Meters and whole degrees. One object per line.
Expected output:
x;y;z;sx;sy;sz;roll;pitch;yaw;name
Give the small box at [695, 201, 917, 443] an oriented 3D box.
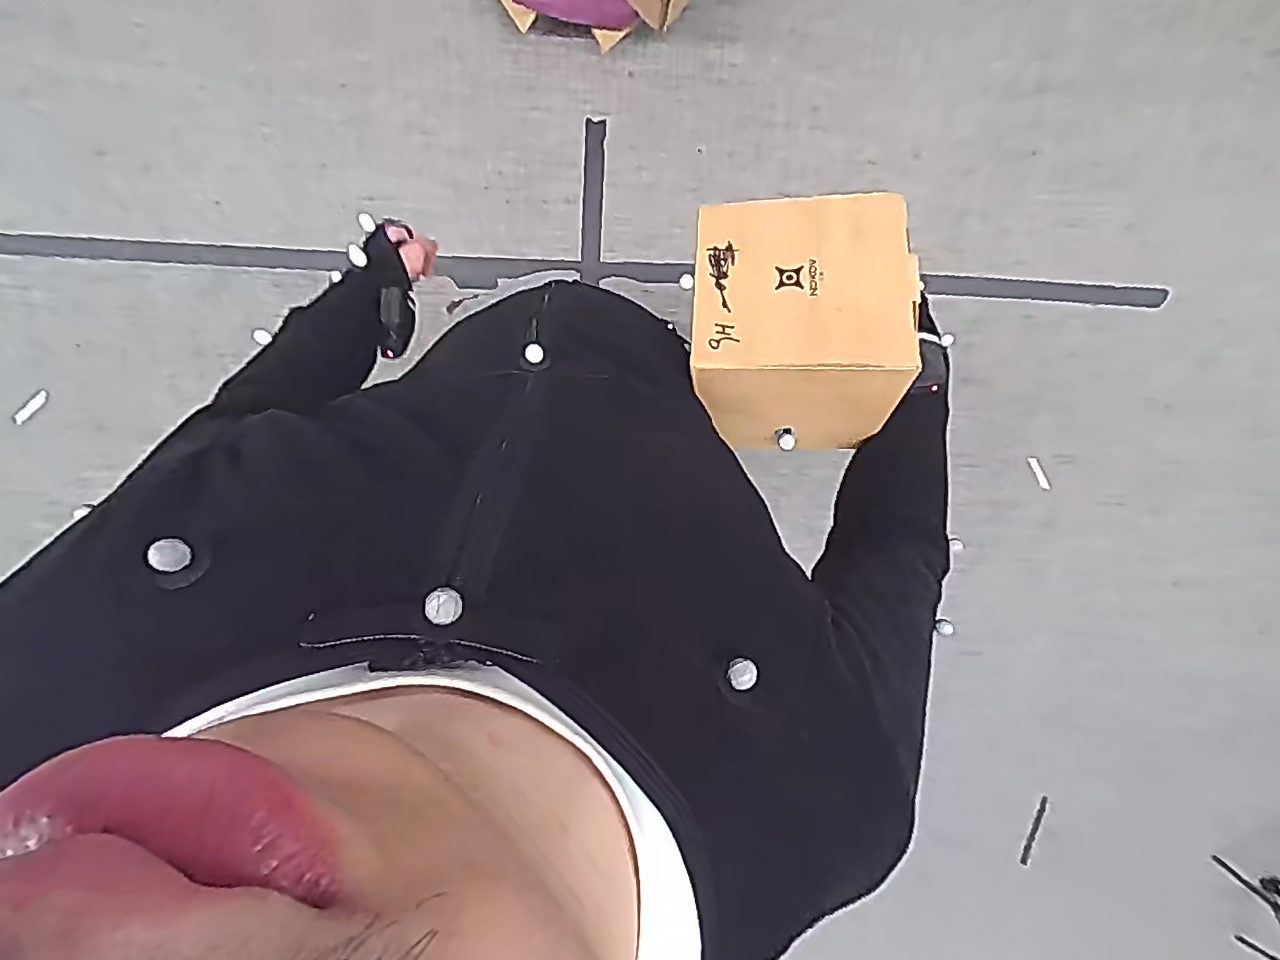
0.149;-0.143;0.533;0.179;0.176;0.168;2;71;9;small box
